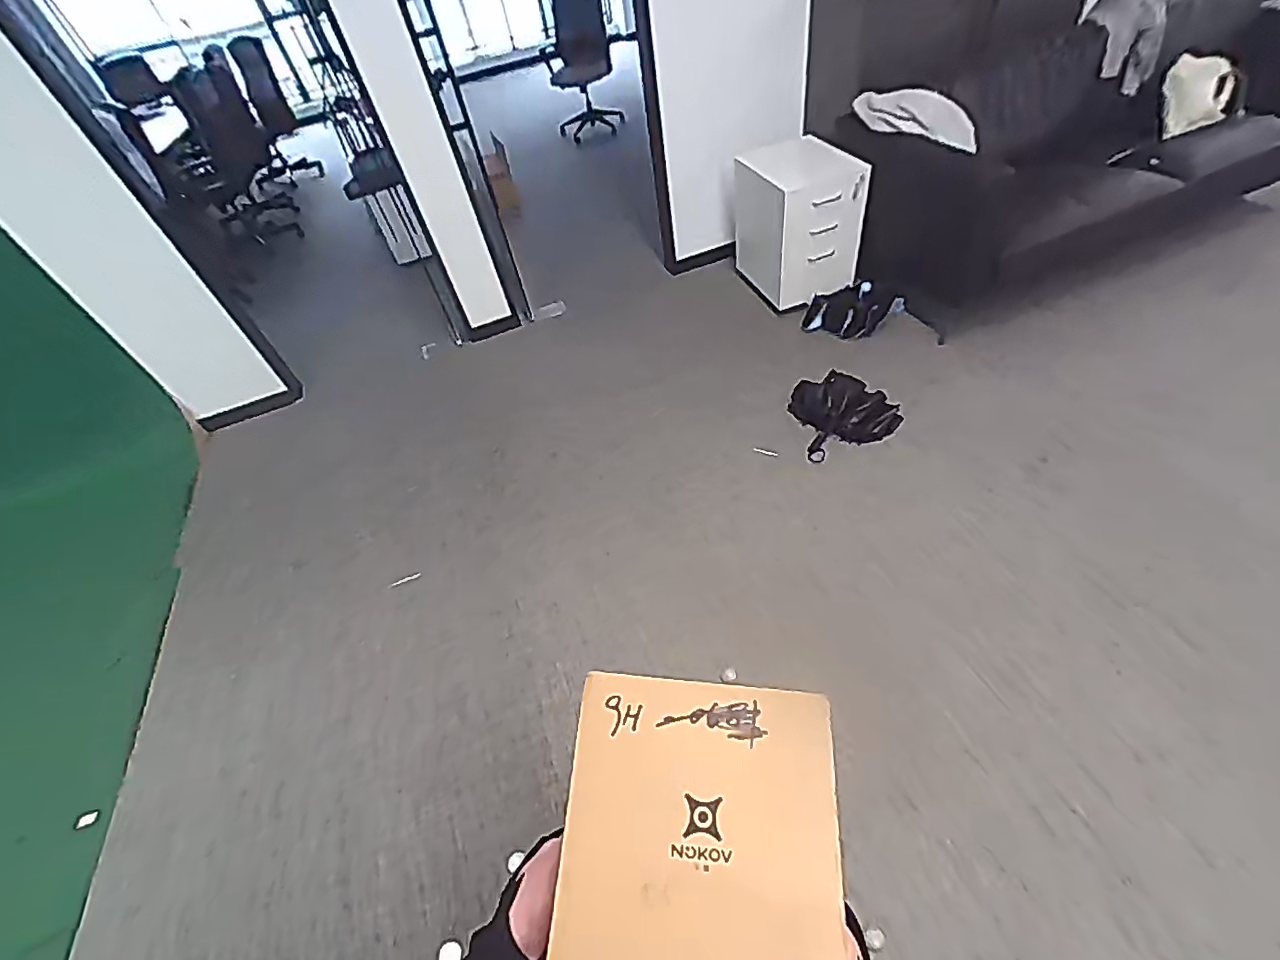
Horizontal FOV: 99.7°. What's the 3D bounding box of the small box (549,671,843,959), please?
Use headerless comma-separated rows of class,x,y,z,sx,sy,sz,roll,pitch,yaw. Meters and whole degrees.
small box,0.039,0.251,0.398,0.168,0.176,0.179,5,62,3
